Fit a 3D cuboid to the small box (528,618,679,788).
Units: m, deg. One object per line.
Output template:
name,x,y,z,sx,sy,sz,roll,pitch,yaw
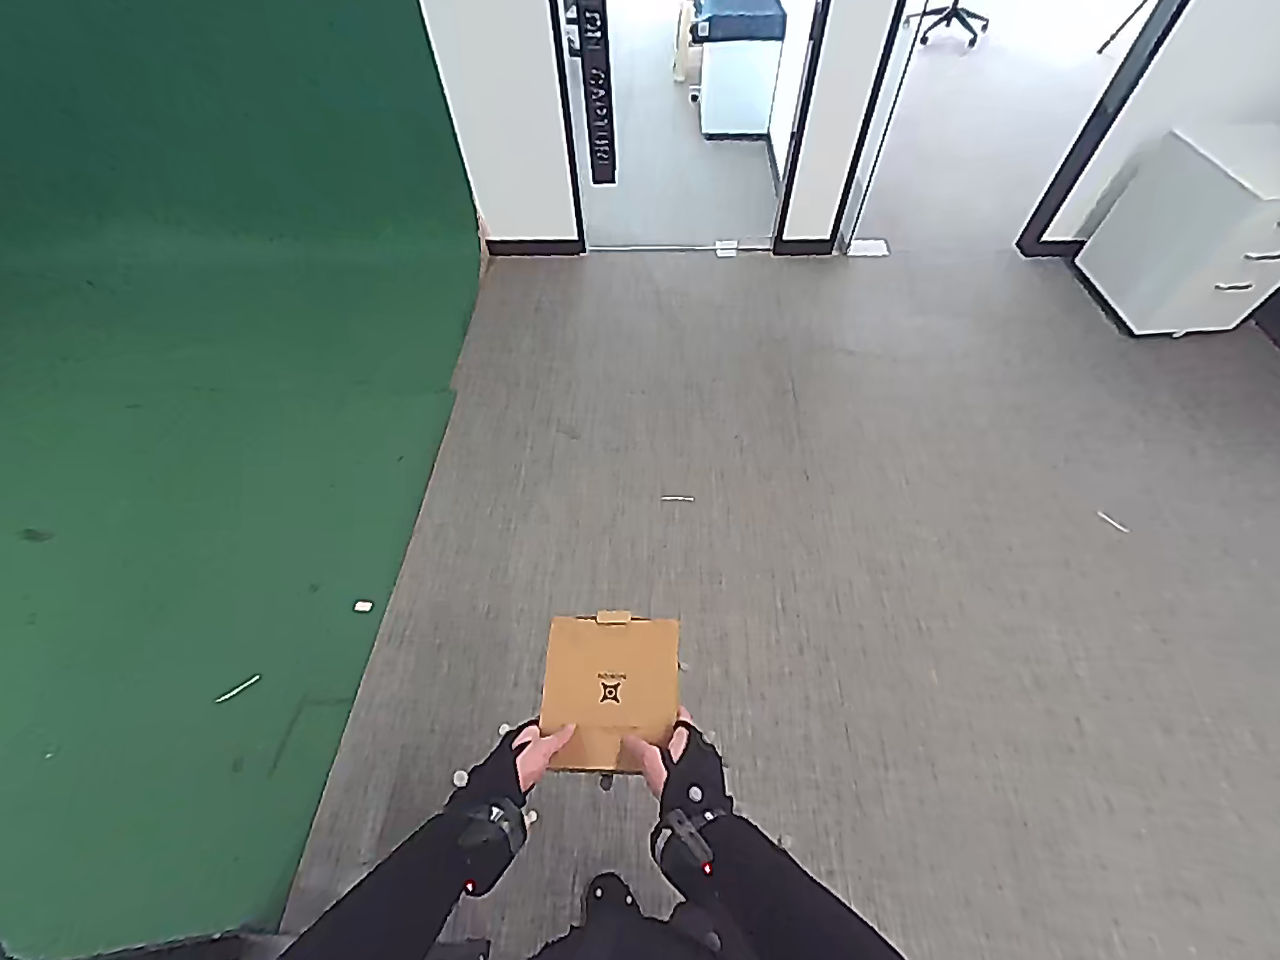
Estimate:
small box,-0.035,0.293,0.705,0.168,0.176,0.179,1,59,5
